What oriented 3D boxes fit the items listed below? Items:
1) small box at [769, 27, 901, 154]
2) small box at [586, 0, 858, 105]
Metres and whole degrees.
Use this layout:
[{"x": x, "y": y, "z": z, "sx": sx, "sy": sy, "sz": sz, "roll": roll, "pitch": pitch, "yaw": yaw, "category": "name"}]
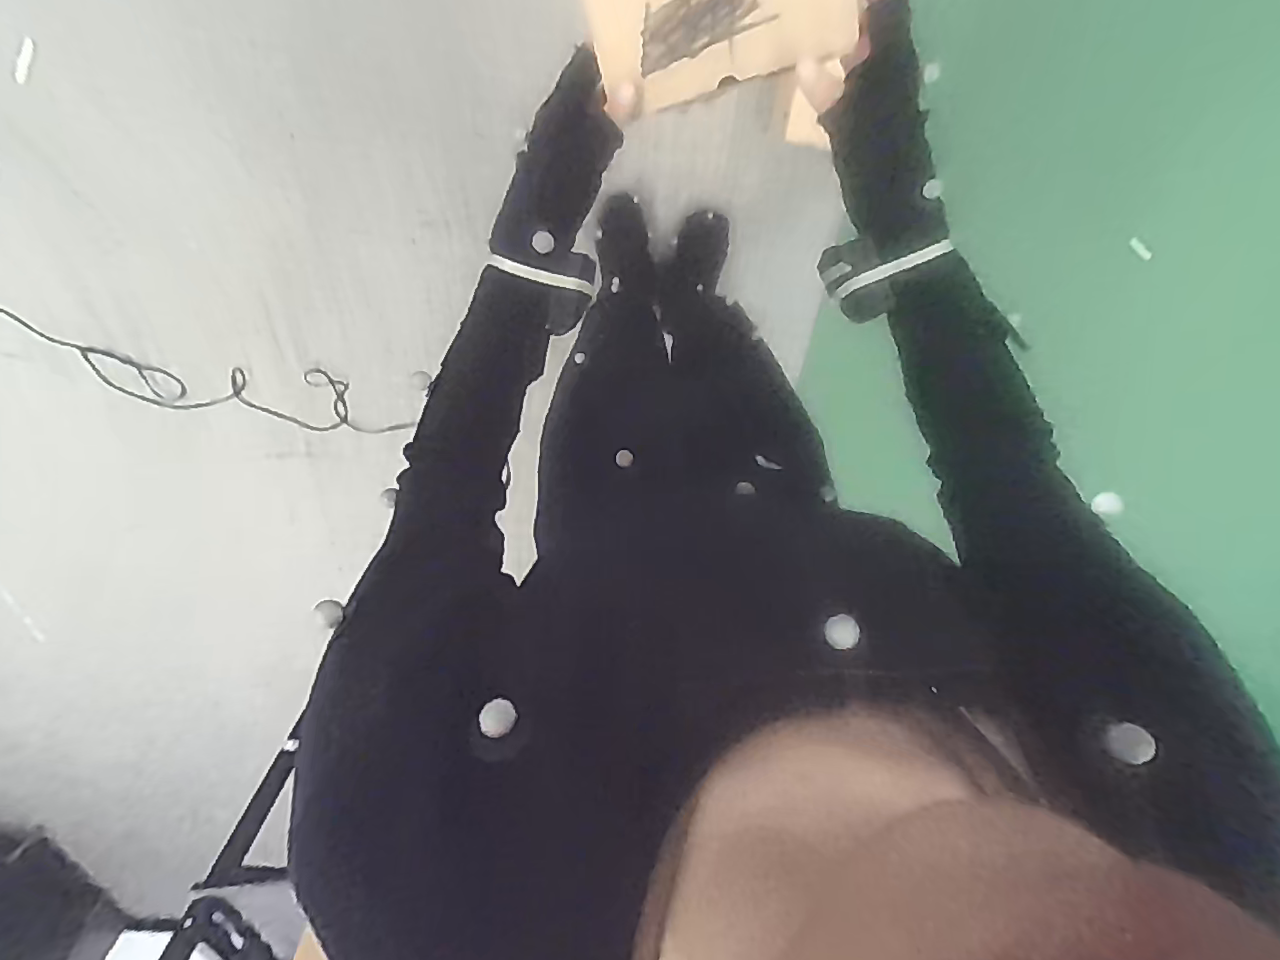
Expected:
[{"x": 0.350, "y": -0.724, "z": 1.012, "sx": 0.168, "sy": 0.176, "sz": 0.179, "roll": 5, "pitch": 123, "yaw": -2, "category": "small box"}, {"x": 0.052, "y": -0.384, "z": 0.363, "sx": 0.168, "sy": 0.176, "sz": 0.179, "roll": -5, "pitch": 127, "yaw": 17, "category": "small box"}]
